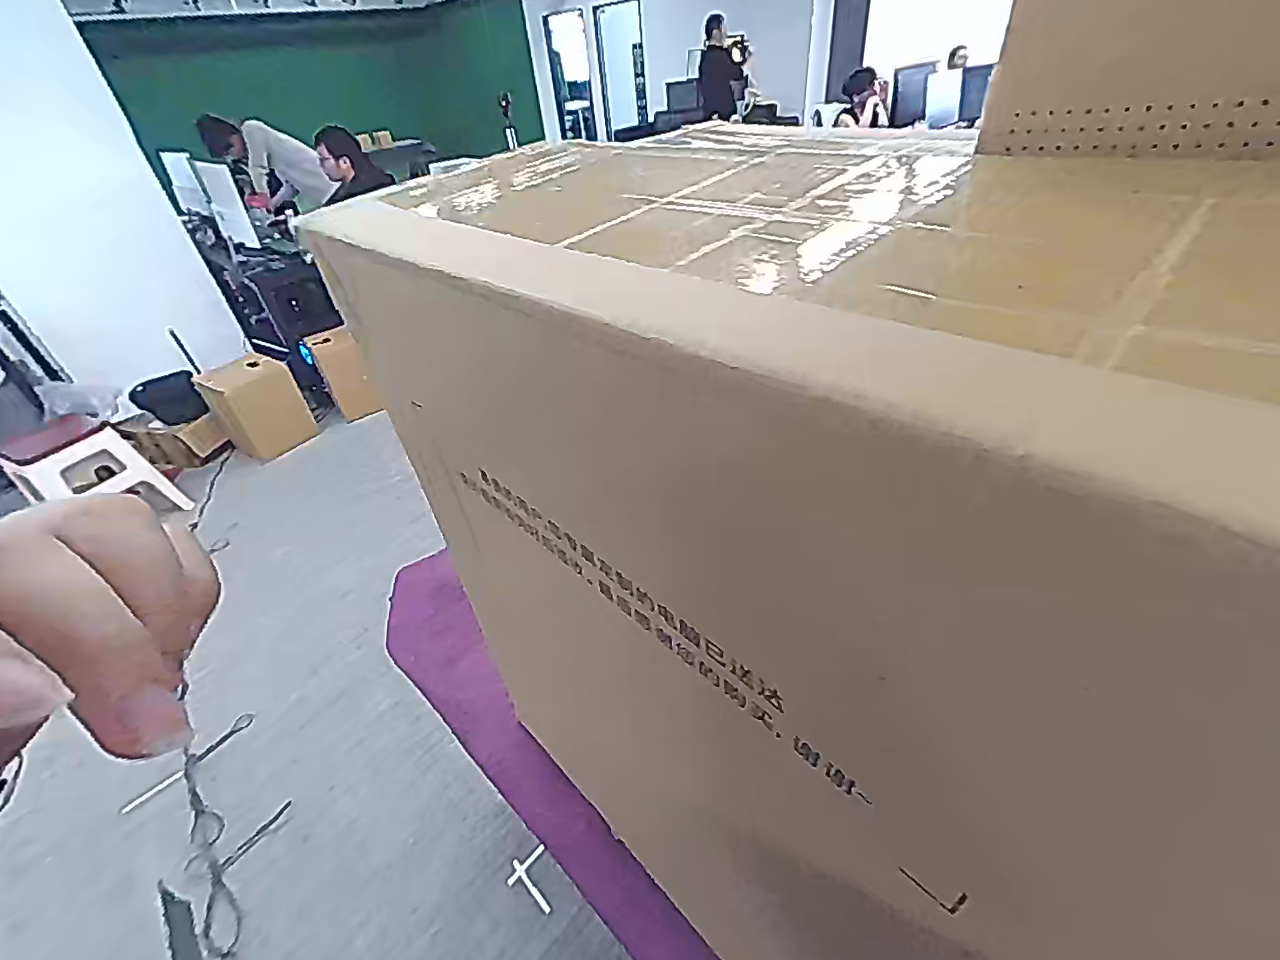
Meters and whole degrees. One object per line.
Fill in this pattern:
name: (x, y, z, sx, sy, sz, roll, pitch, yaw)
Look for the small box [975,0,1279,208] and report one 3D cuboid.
small box: (0.267, -0.213, 0.209, 0.179, 0.176, 0.168, 23, 47, 35)
